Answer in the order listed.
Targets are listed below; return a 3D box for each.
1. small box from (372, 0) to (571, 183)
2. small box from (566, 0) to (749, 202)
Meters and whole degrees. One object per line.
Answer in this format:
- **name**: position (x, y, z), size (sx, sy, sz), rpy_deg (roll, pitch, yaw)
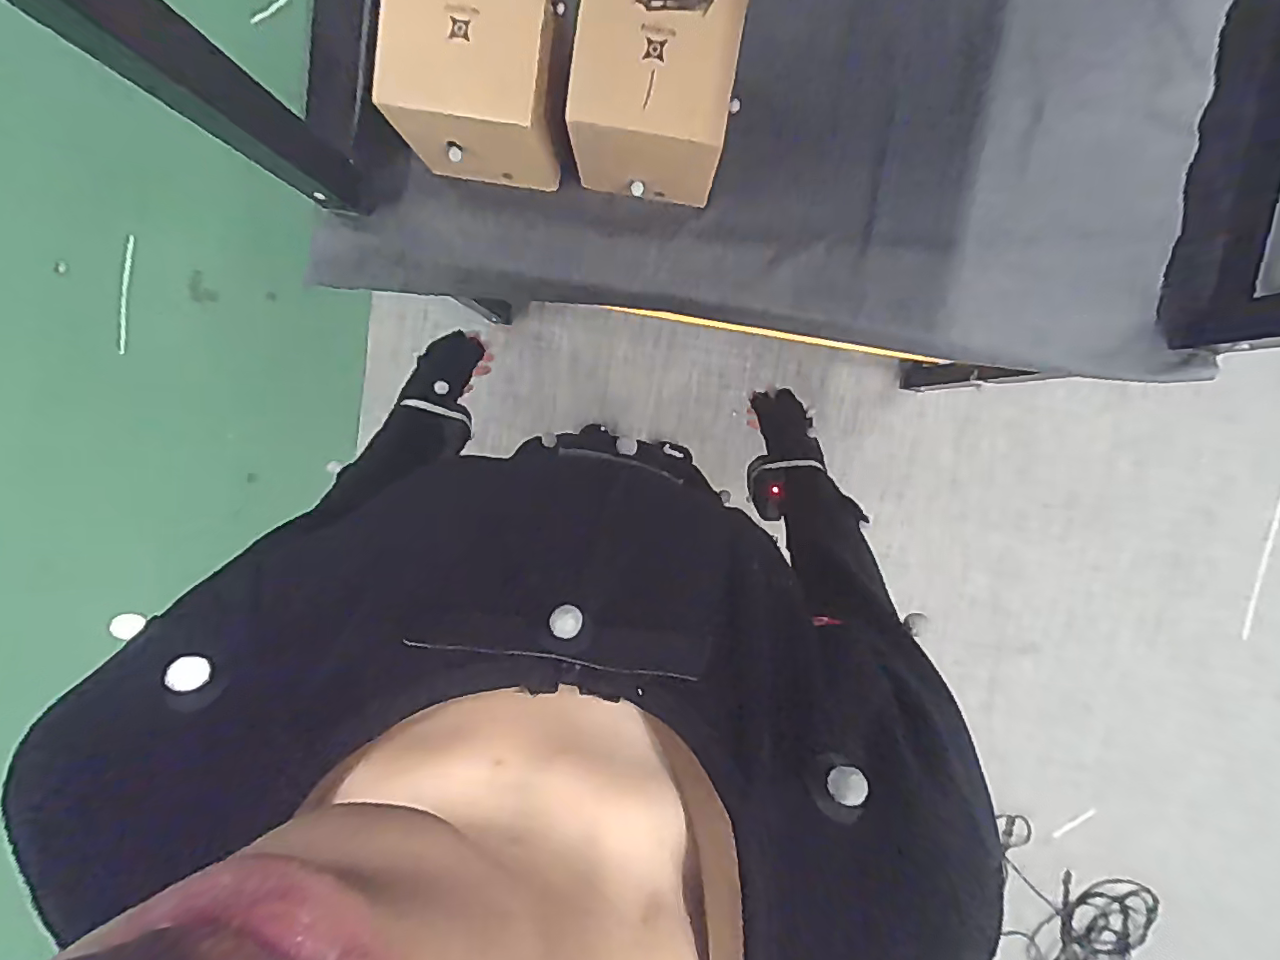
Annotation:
- **small box**: position (-0.177, -0.467, 0.613), size (0.168, 0.176, 0.179), rpy_deg (8, 96, -1)
- **small box**: position (0.019, -0.449, 0.613), size (0.168, 0.176, 0.179), rpy_deg (9, 97, 0)
